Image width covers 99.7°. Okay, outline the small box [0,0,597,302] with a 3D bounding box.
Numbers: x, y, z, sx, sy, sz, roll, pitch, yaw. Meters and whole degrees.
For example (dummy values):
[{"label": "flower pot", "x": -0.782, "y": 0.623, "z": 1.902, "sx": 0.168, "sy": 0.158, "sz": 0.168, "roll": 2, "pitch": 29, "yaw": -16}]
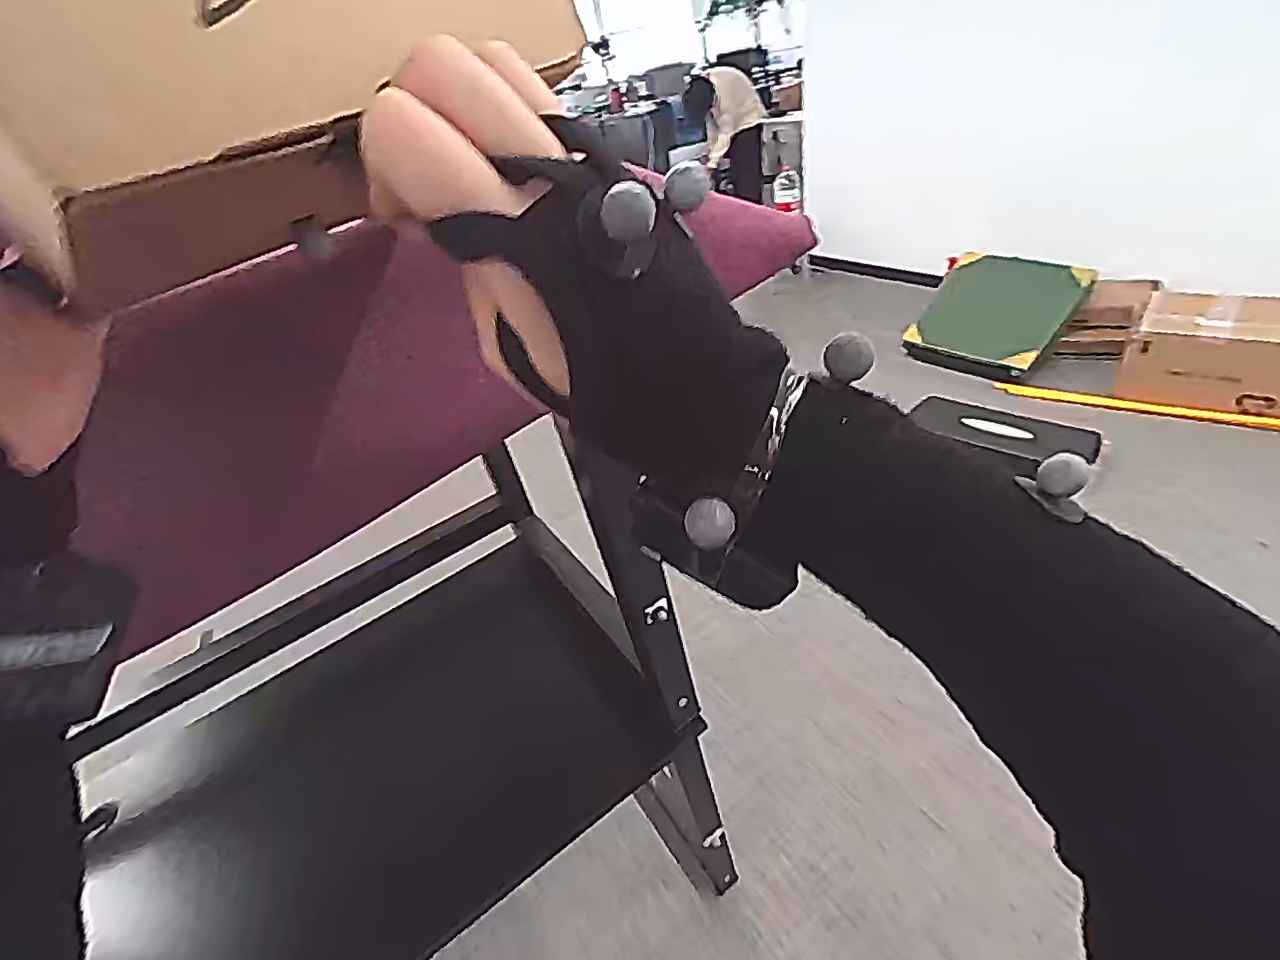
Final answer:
[{"label": "small box", "x": -0.152, "y": -0.178, "z": 0.165, "sx": 0.176, "sy": 0.179, "sz": 0.168, "roll": 5, "pitch": 40, "yaw": 45}]
